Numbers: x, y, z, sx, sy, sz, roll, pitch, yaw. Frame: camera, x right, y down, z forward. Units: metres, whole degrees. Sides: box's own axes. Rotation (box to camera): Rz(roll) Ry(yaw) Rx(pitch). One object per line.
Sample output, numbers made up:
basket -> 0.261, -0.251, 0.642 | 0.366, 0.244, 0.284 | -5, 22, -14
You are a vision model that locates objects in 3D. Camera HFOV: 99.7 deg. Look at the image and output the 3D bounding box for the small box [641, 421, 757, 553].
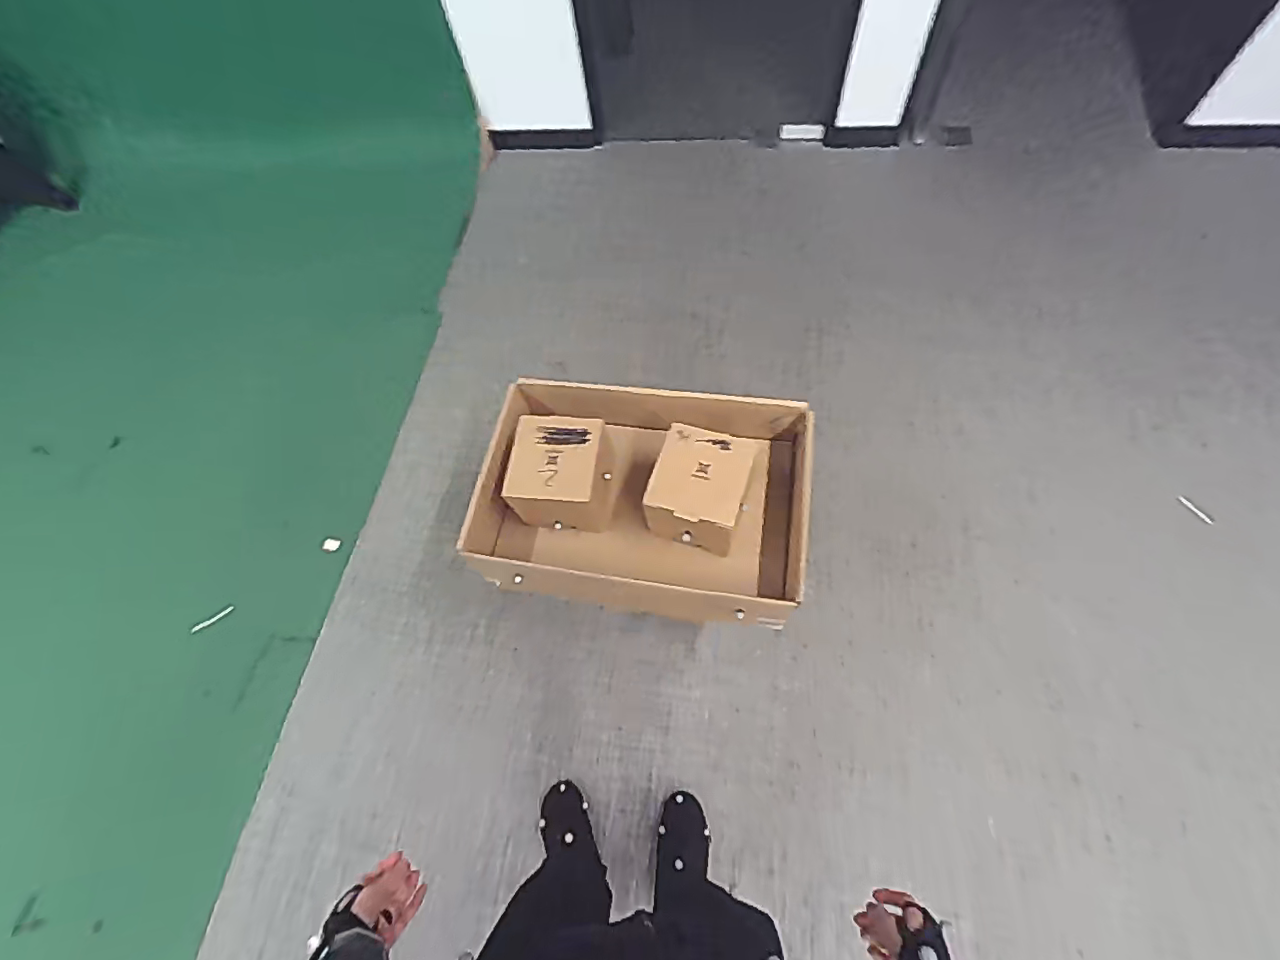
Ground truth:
small box -> 0.115, 0.020, 1.029 | 0.168, 0.176, 0.179 | 17, 68, 14
